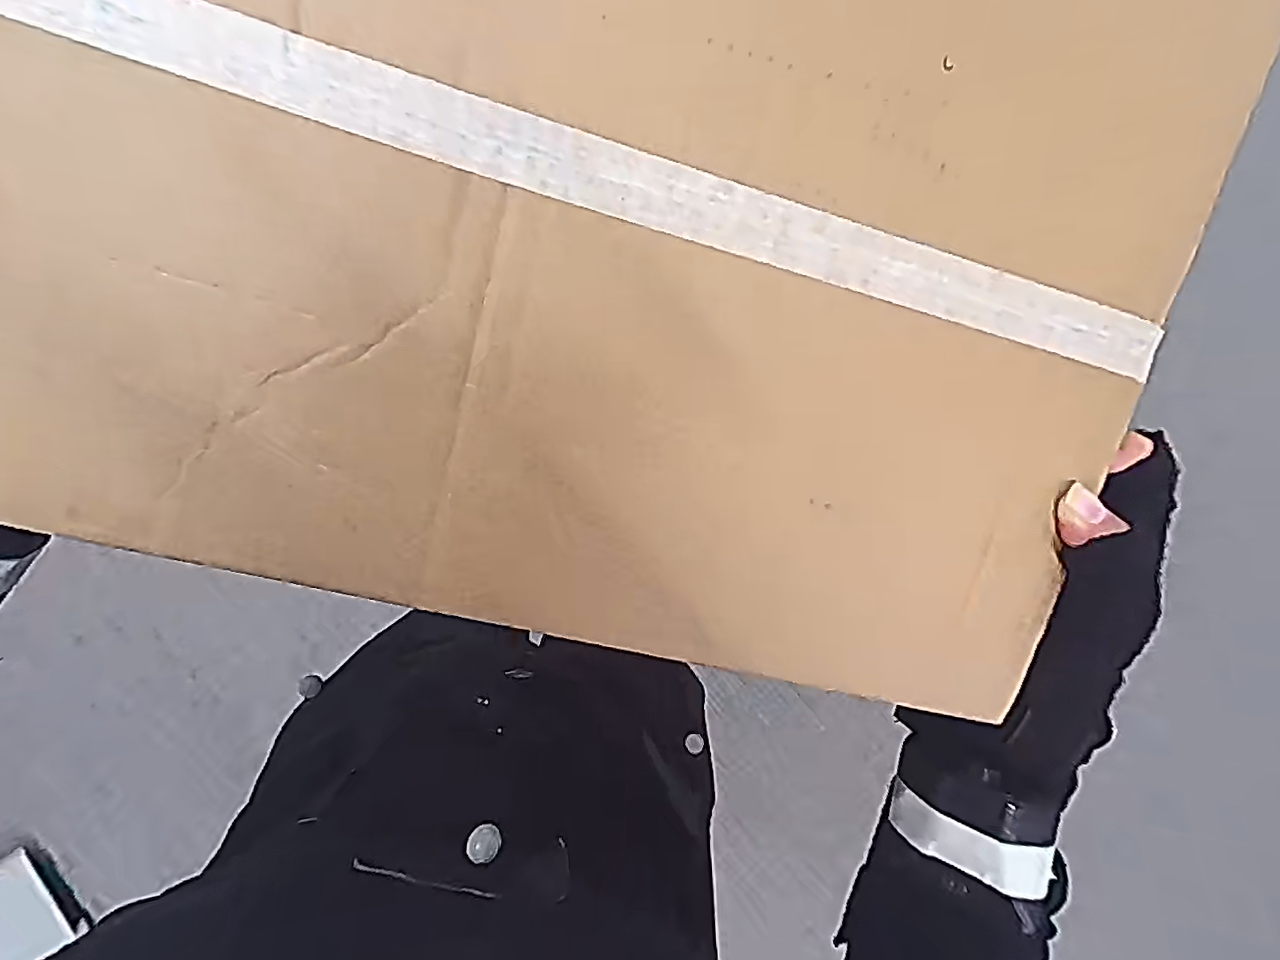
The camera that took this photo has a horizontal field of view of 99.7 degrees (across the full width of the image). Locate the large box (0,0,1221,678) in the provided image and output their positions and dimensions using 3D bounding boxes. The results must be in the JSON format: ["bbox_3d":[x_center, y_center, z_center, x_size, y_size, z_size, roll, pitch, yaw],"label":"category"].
[{"bbox_3d":[-0.028,-0.124,0.331,0.408,0.320,0.320,13,99,-9],"label":"large box"}]
